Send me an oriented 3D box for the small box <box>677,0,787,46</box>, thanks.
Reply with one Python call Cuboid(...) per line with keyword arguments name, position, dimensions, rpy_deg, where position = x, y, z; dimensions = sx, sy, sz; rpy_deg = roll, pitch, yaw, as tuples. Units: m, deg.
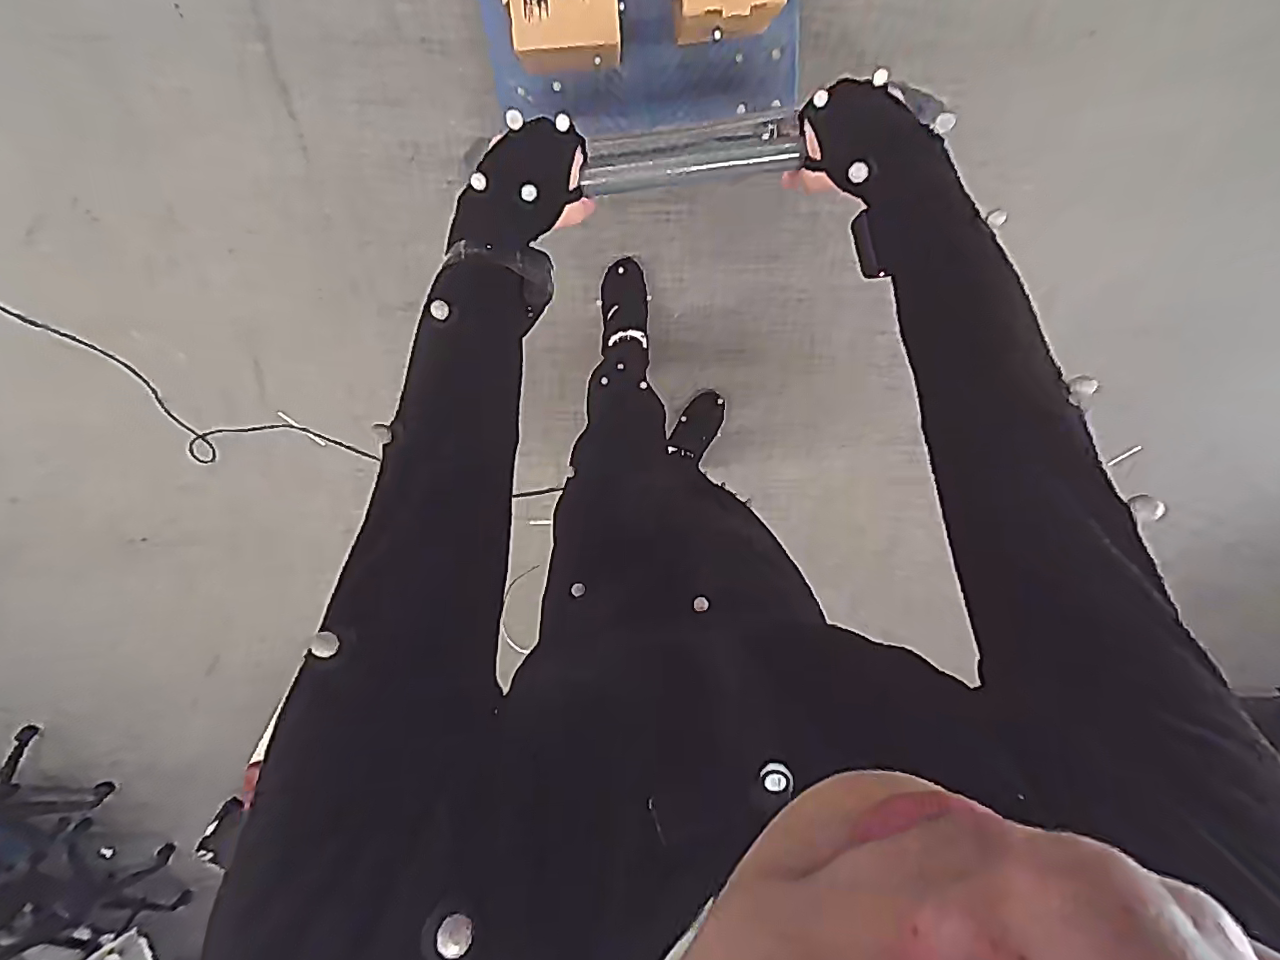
Cuboid(name="small box", position=(0.147, -0.870, 0.911), dimensions=(0.168, 0.176, 0.179), rpy_deg=(-6, 117, 2))
